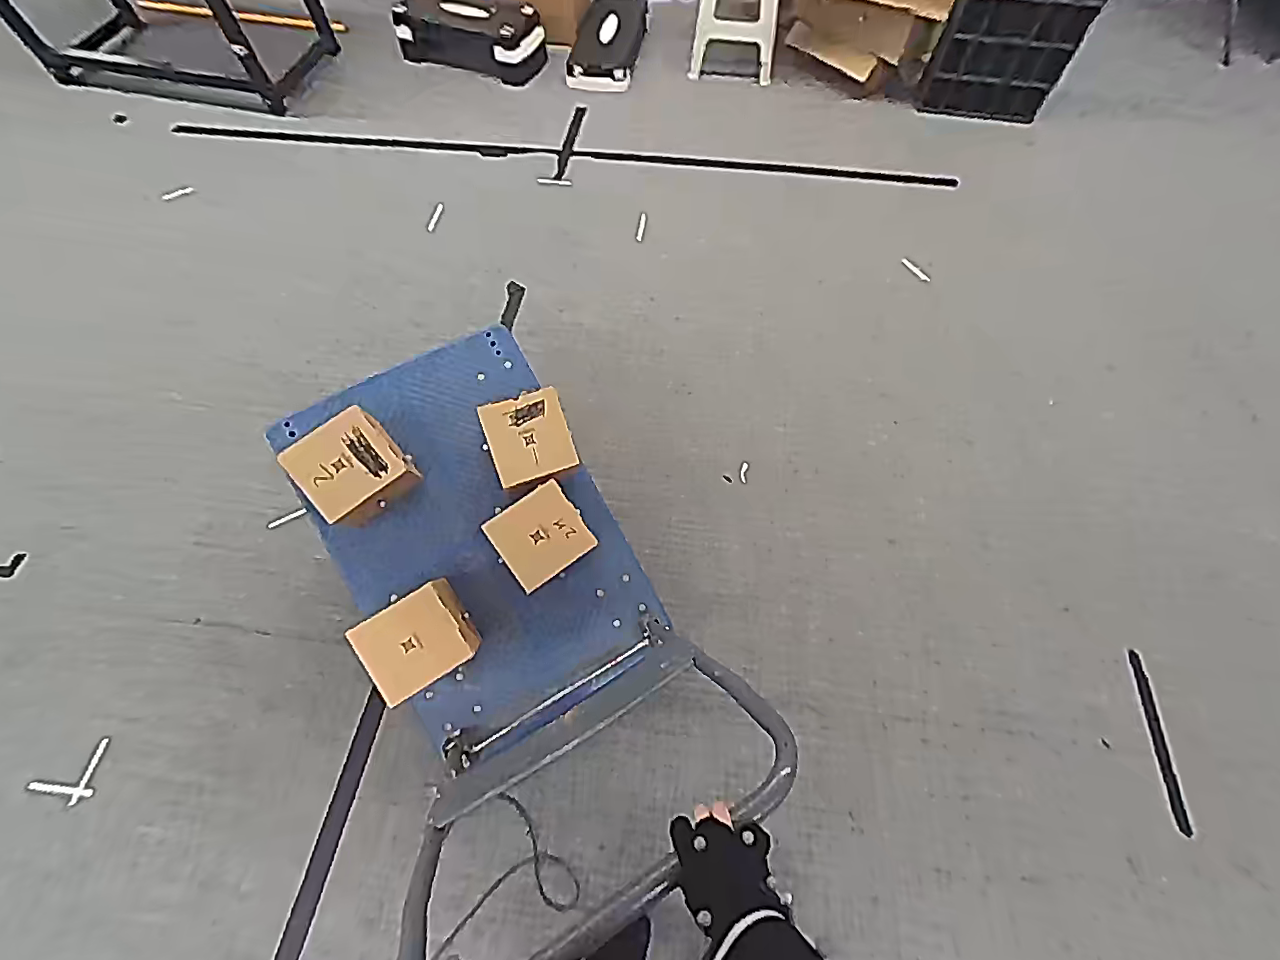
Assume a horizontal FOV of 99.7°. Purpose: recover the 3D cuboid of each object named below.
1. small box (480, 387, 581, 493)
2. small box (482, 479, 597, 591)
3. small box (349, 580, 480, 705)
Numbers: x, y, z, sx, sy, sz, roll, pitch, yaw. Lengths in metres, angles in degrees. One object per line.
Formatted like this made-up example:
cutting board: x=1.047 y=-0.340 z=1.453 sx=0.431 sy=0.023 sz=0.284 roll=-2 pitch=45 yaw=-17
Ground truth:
small box: x=-0.240 y=-0.081 z=1.185 sx=0.168 sy=0.176 sz=0.179 roll=-19 pitch=88 yaw=-12
small box: x=-0.212 y=0.119 z=1.163 sx=0.179 sy=0.176 sz=0.168 roll=-35 pitch=90 yaw=-12
small box: x=-0.443 y=0.318 z=1.095 sx=0.179 sy=0.176 sz=0.168 roll=-32 pitch=89 yaw=-15
